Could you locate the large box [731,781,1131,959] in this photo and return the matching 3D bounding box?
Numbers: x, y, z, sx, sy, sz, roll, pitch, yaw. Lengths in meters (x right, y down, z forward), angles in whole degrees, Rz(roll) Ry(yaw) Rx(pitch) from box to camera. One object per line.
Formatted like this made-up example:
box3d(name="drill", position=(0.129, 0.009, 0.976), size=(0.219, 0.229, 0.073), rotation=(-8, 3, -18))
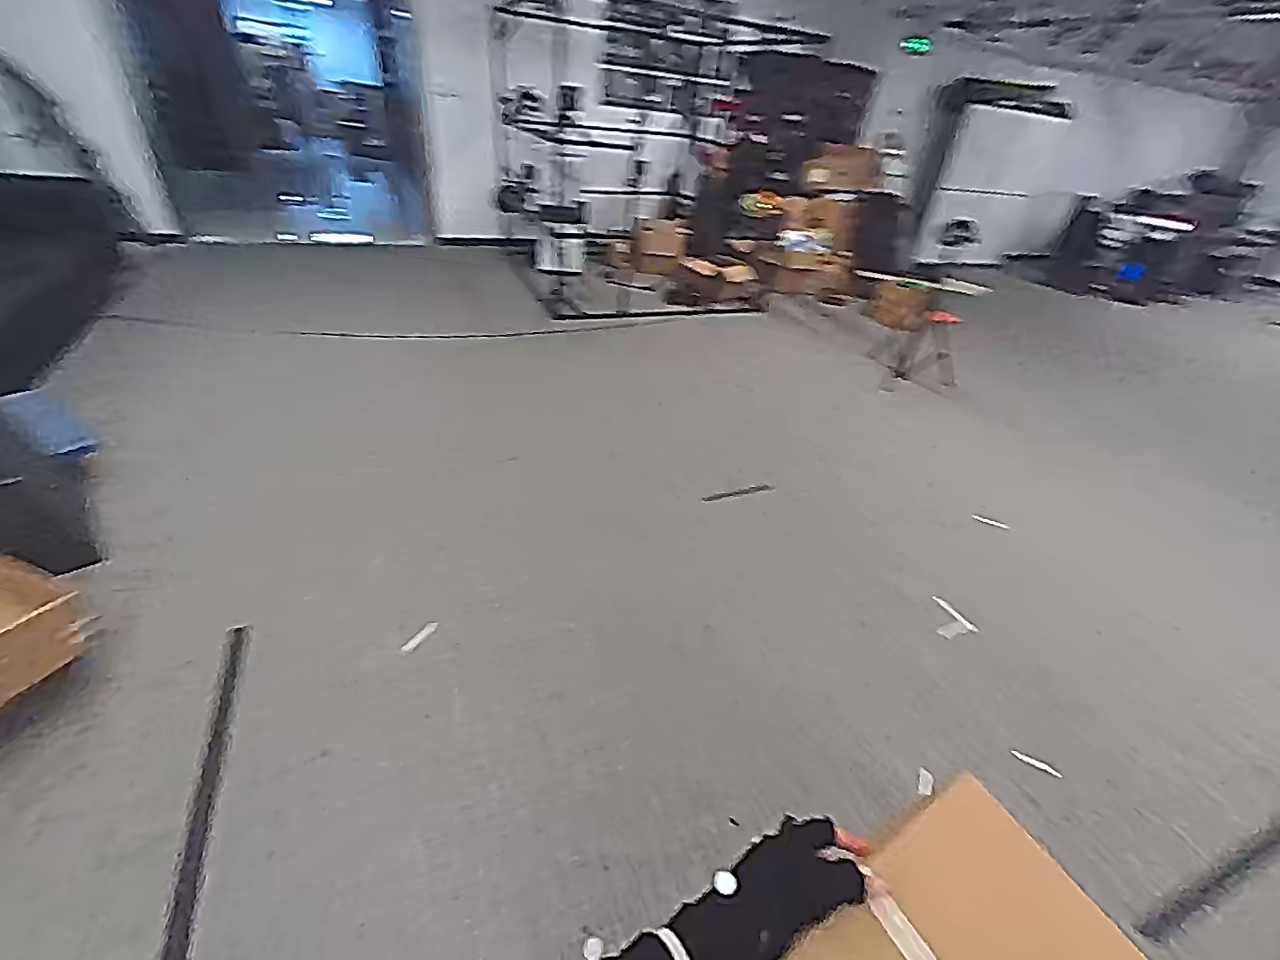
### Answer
box3d(name="large box", position=(0.289, 0.574, 0.474), size=(0.320, 0.320, 0.408), rotation=(-24, 52, -22))
